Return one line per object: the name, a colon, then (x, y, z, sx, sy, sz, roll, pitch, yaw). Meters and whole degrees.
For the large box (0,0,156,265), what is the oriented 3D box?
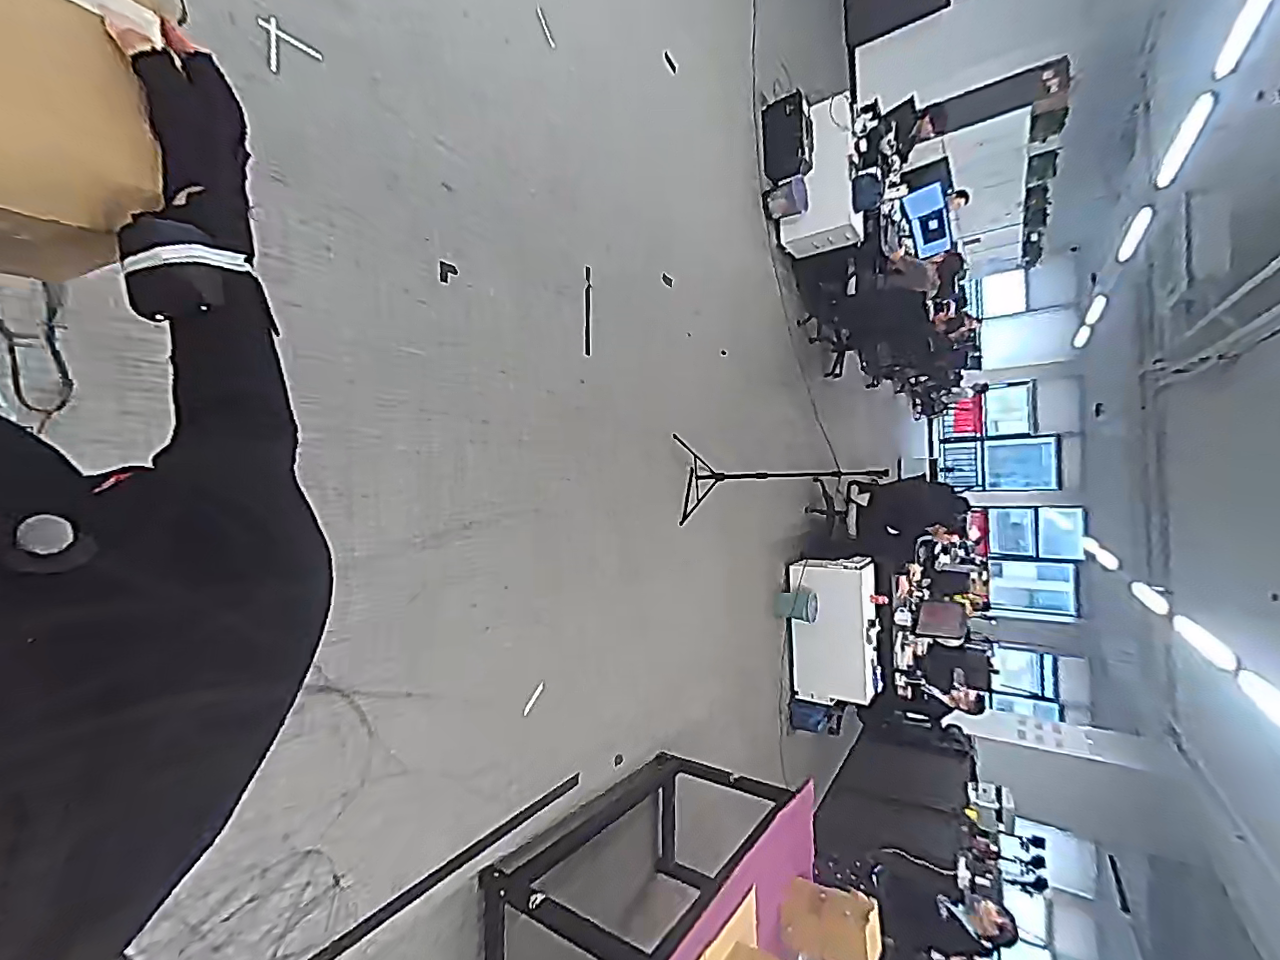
large box: (-0.608, -0.352, 0.325, 0.408, 0.320, 0.320, -5, 102, -57)
